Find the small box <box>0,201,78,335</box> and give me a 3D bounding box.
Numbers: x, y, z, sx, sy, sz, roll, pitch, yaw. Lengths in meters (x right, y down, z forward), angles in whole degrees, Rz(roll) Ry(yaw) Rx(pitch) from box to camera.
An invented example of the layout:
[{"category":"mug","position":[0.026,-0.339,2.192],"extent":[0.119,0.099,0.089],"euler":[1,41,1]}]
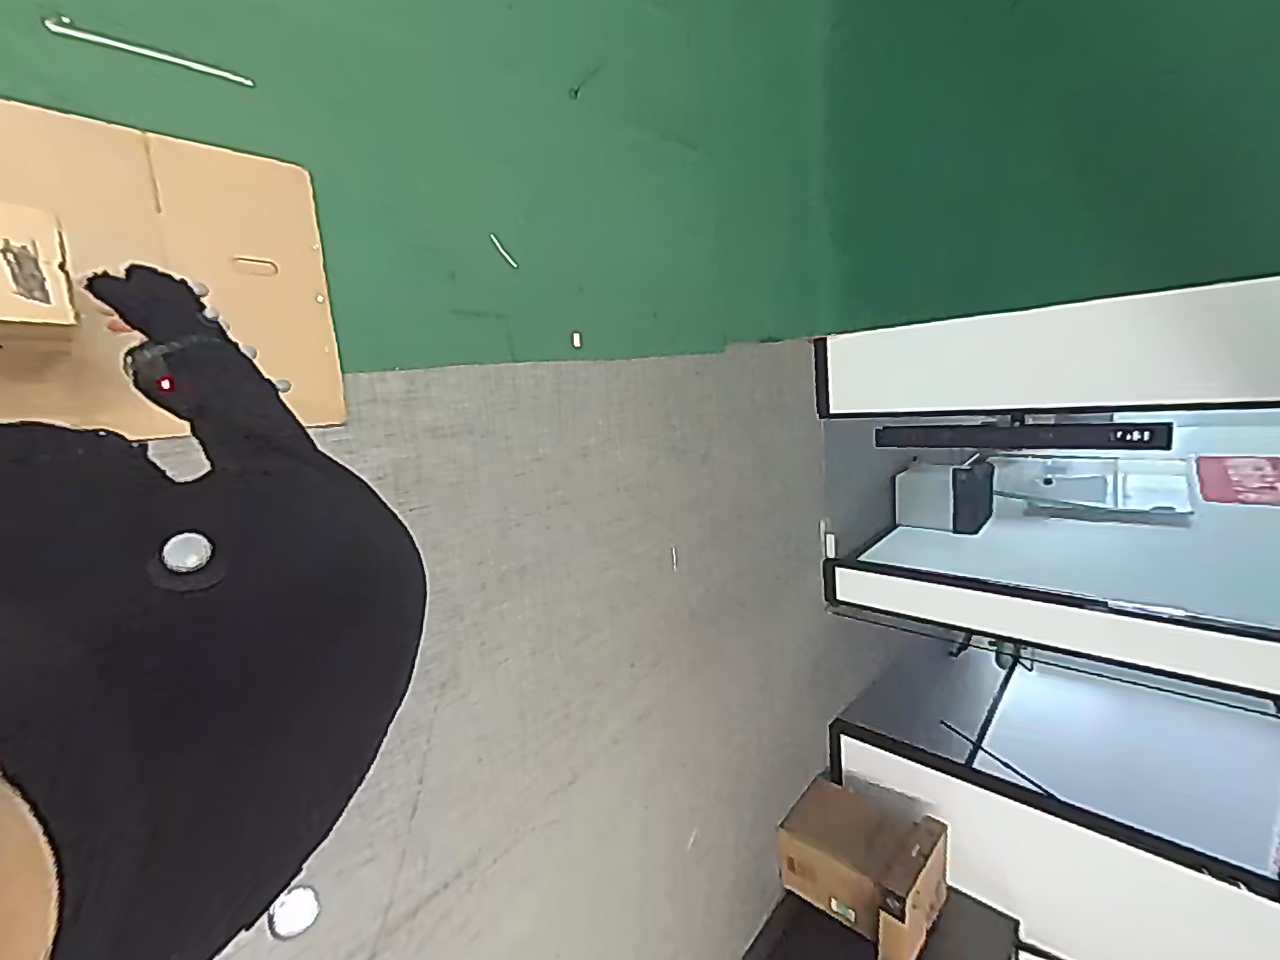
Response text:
[{"category":"small box","position":[-0.957,-0.308,0.789],"extent":[0.179,0.176,0.168],"euler":[-9,100,-44]}]
